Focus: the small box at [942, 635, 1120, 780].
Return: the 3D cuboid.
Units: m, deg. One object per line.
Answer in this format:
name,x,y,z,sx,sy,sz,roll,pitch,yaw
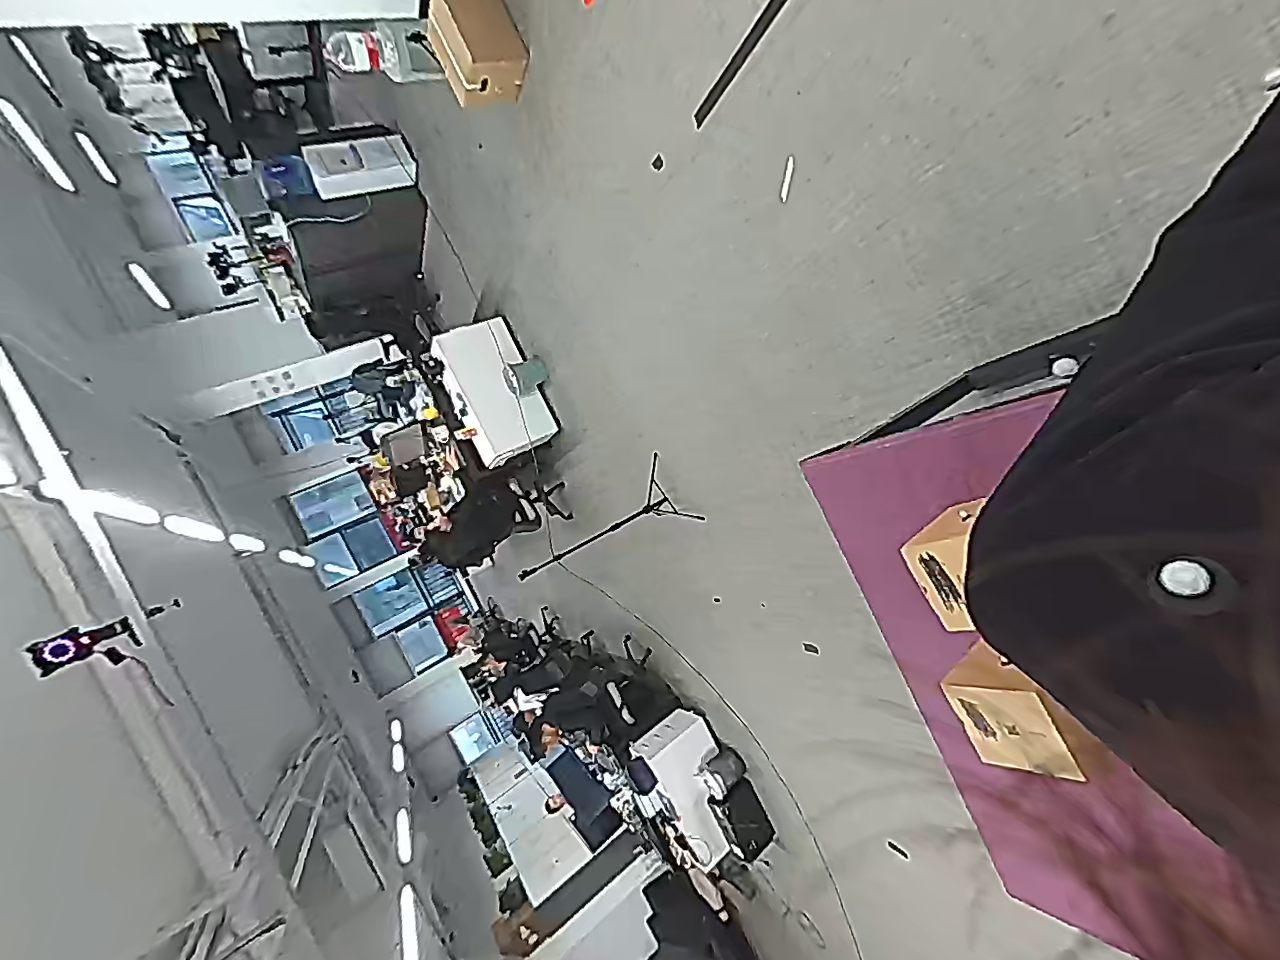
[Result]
small box,0.699,0.393,0.972,0.168,0.176,0.179,61,152,2
